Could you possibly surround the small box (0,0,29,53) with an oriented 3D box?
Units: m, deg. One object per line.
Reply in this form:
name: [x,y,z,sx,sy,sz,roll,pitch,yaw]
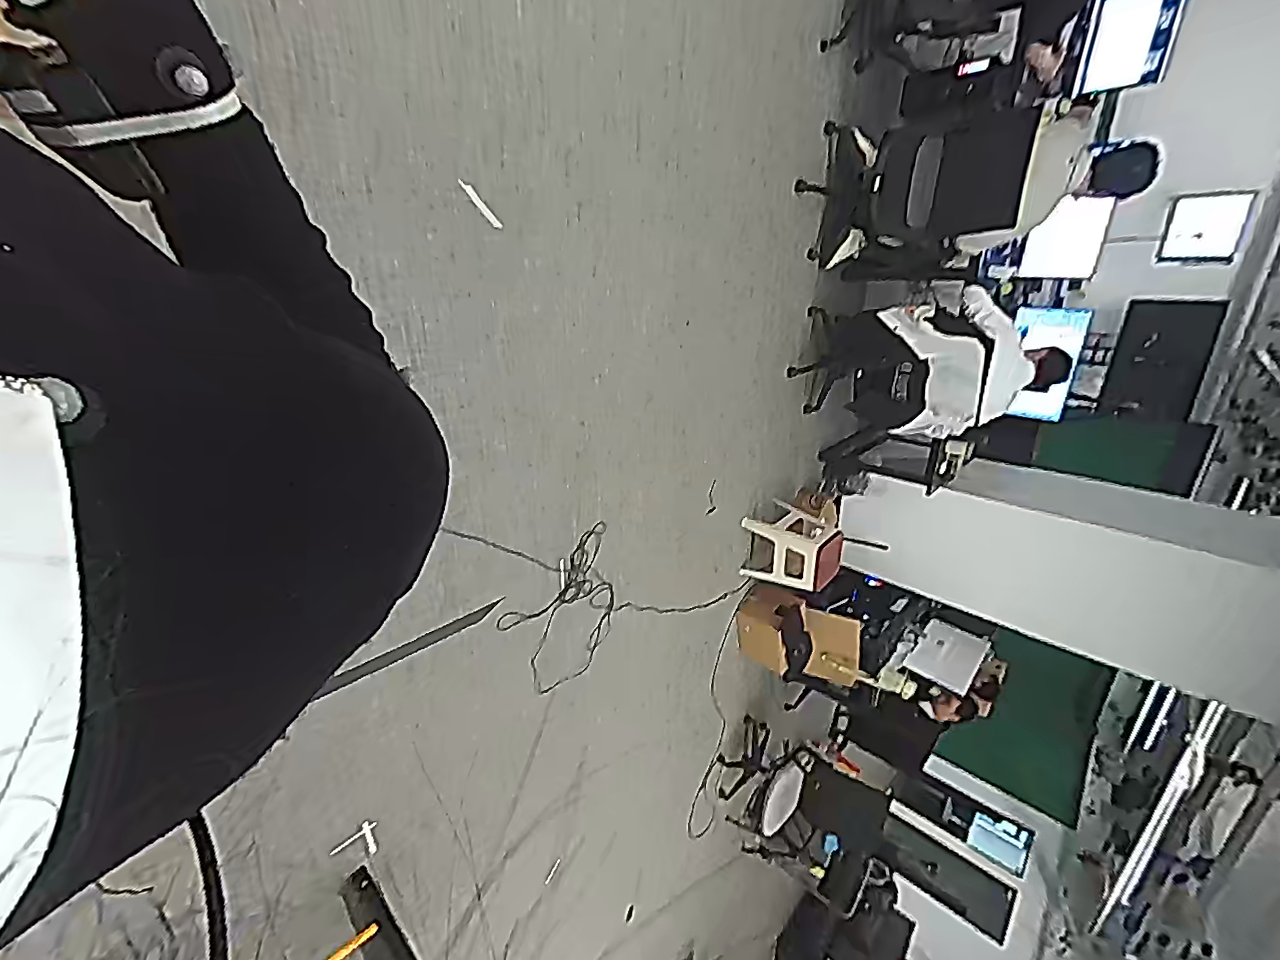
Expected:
small box: [-0.716,-0.521,0.491,0.179,0.176,0.168,-19,119,-46]
